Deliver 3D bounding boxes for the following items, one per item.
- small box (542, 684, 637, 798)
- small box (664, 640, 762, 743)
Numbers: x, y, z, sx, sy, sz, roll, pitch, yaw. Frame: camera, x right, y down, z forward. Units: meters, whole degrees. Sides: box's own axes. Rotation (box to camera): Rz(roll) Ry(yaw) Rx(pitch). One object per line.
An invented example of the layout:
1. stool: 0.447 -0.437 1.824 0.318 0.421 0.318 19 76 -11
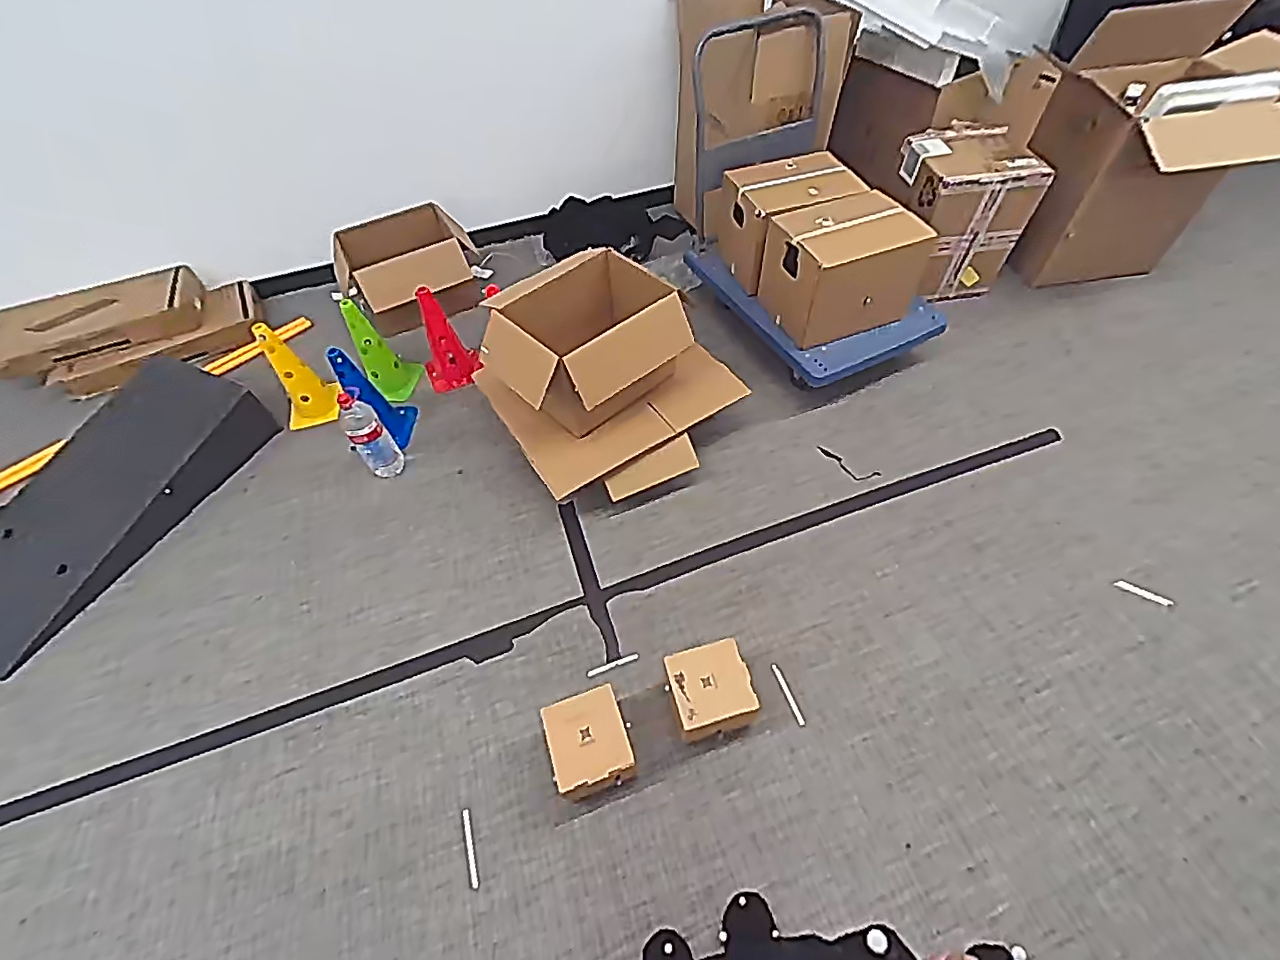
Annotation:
1. small box: -0.109 0.591 1.212 0.168 0.176 0.179 -17 55 -11
2. small box: 0.162 0.497 1.267 0.179 0.176 0.168 -13 55 -8
